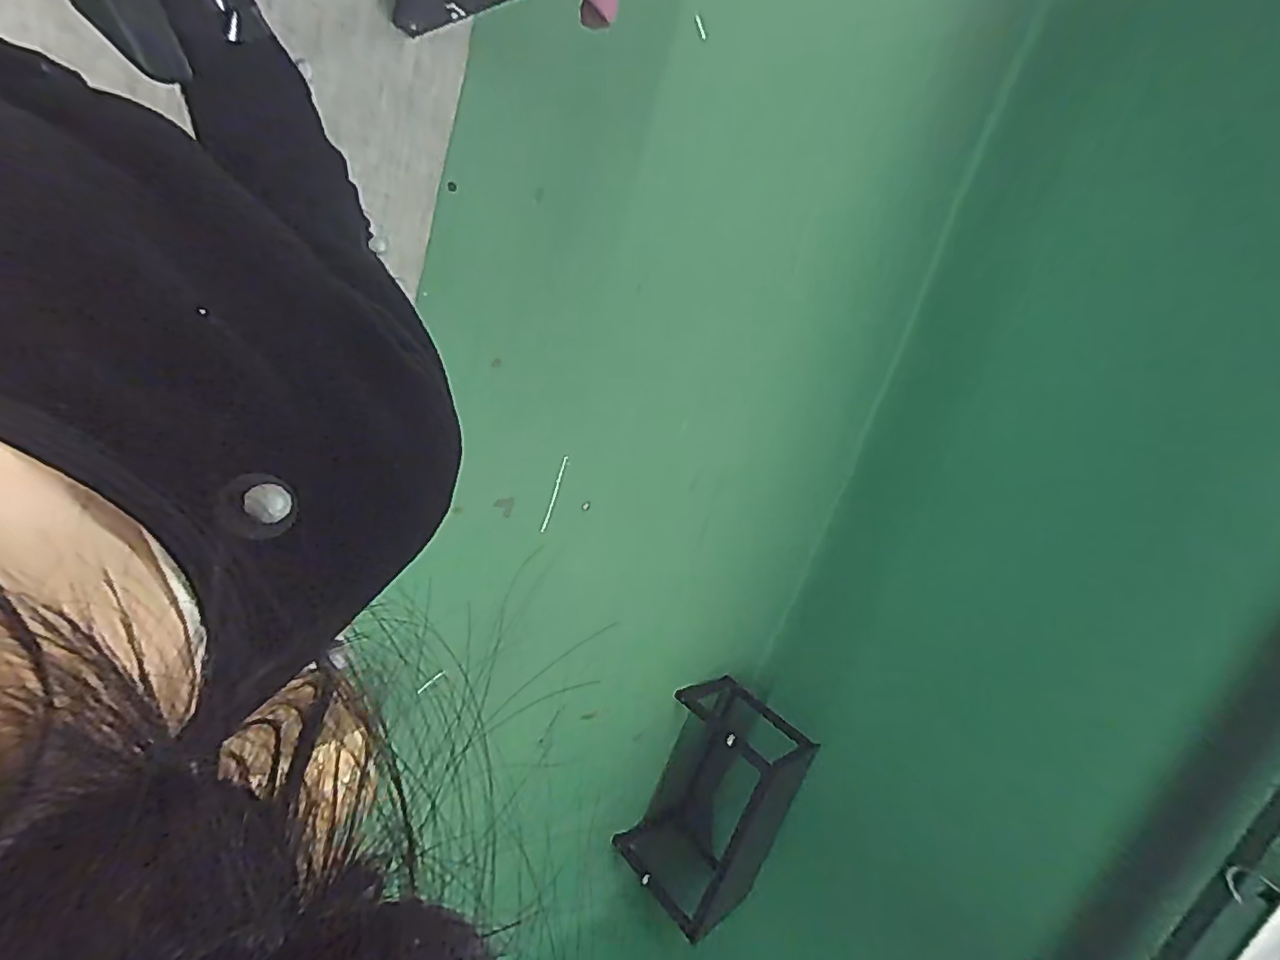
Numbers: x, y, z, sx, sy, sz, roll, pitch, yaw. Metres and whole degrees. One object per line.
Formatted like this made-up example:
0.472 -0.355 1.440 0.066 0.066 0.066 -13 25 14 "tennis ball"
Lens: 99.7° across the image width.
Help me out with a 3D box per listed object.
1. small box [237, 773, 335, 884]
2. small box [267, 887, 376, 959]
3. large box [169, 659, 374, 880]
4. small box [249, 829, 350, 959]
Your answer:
-0.884 0.883 1.354 0.179 0.176 0.168 -9 117 -42 "small box"
-0.672 1.013 1.140 0.168 0.176 0.179 -8 116 -43 "small box"
-1.027 0.784 1.529 0.408 0.320 0.320 -14 123 -42 "large box"
-0.784 0.949 1.243 0.168 0.176 0.179 -7 116 -43 "small box"
